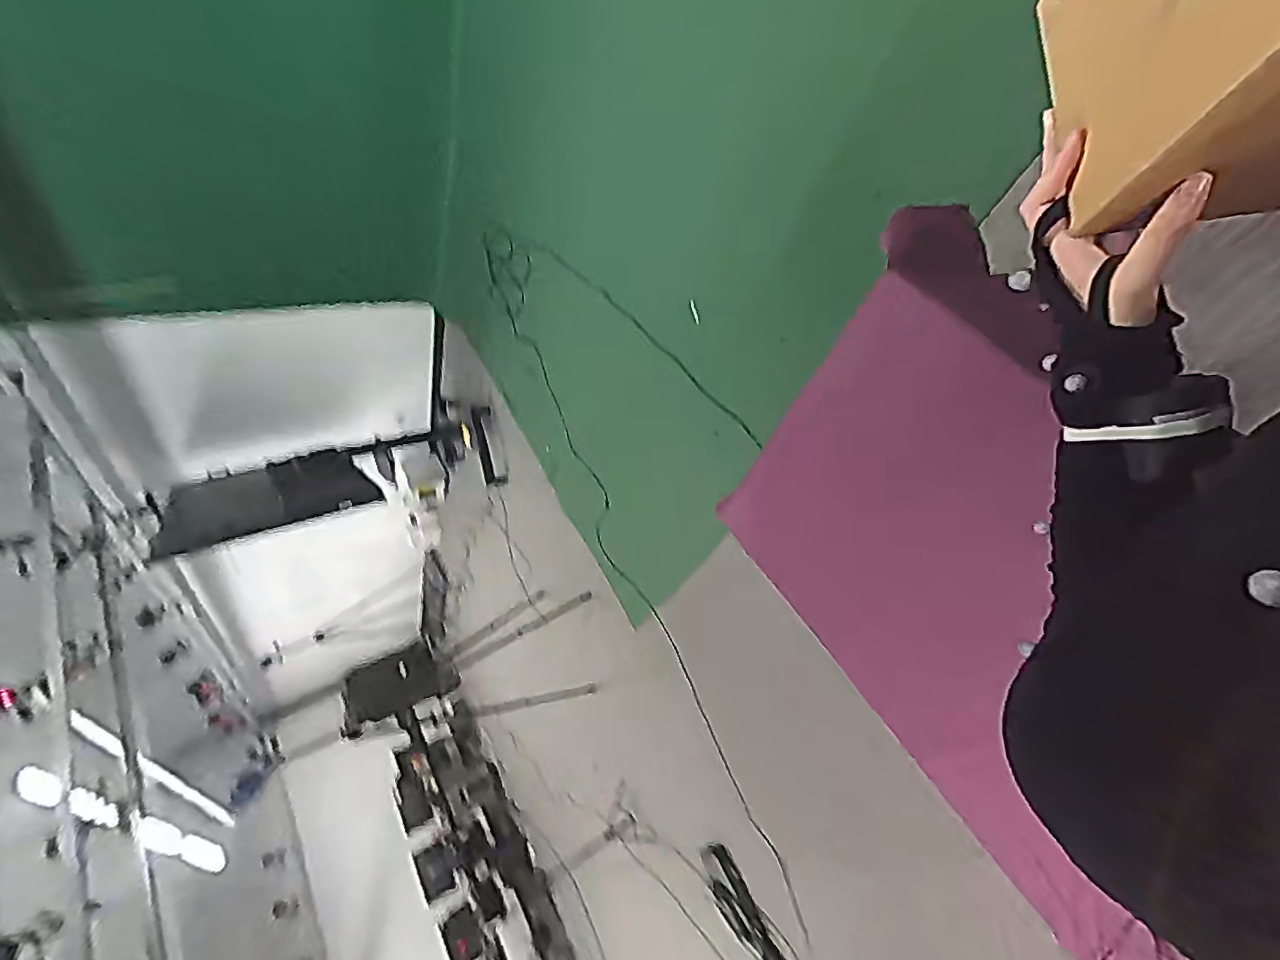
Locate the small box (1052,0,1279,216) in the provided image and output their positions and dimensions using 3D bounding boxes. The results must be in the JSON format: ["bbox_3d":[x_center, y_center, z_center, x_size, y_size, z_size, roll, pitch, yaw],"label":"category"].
[{"bbox_3d":[0.344,-0.262,0.261,0.168,0.179,0.176,46,-140,-80],"label":"small box"}]
